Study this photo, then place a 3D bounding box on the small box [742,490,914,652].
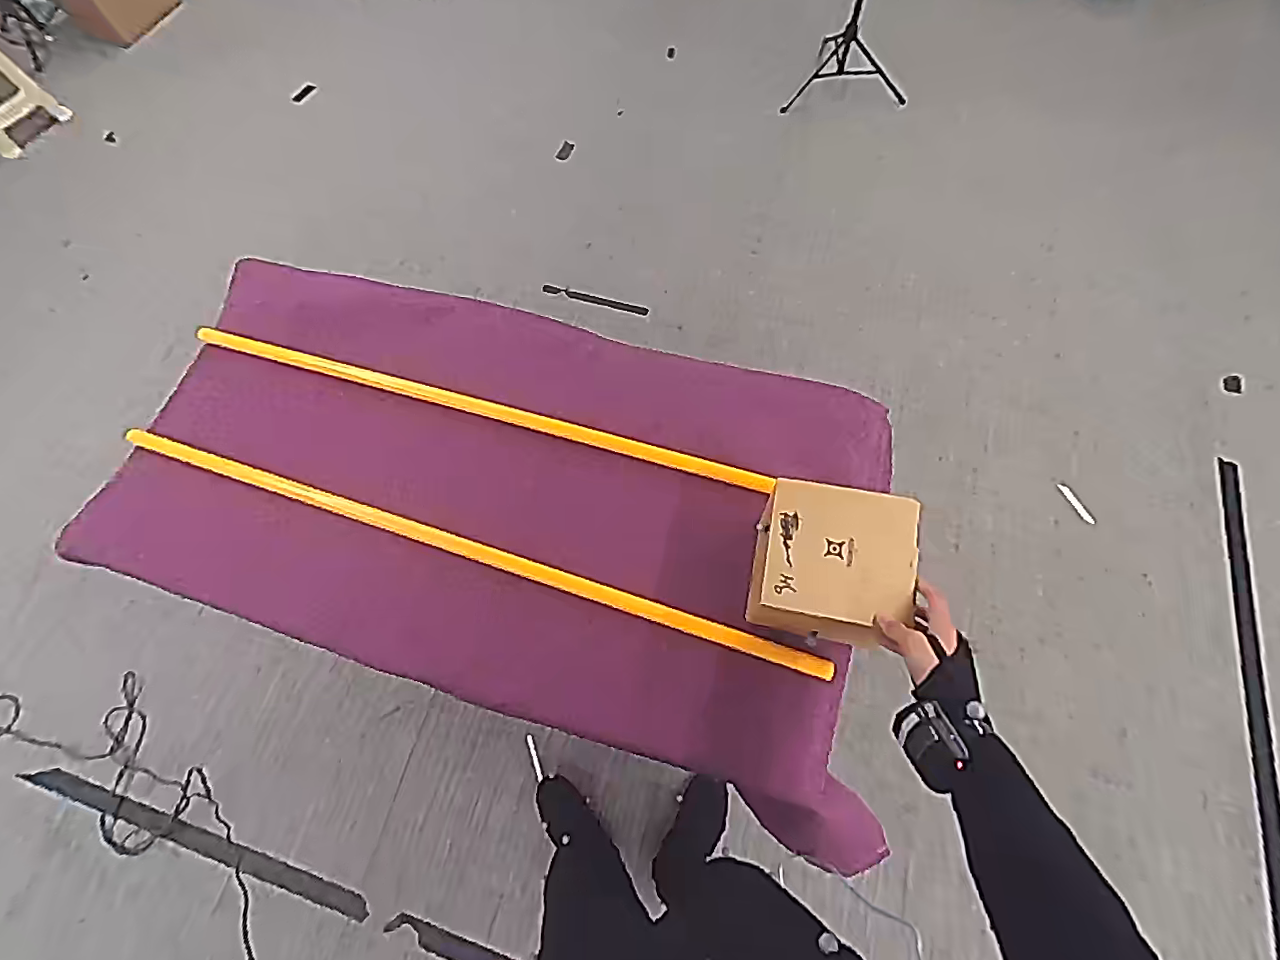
[{"bbox_3d":[0.243,0.130,0.729,0.179,0.176,0.168,10,70,9],"label":"small box"}]
